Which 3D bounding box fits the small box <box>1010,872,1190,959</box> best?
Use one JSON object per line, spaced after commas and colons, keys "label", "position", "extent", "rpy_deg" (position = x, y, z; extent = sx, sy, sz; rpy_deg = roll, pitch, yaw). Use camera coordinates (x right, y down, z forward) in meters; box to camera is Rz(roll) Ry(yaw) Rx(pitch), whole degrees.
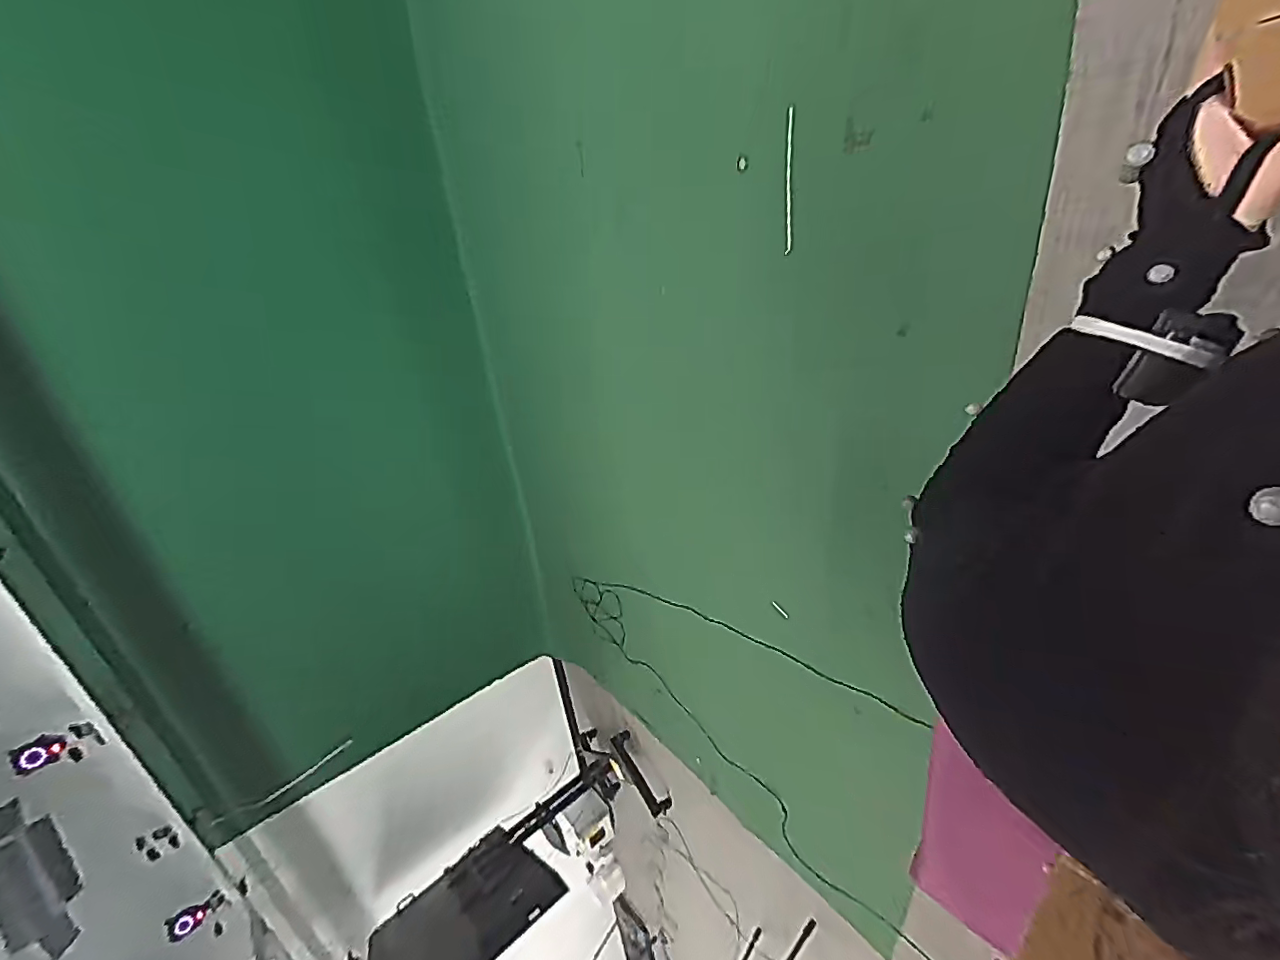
{"label": "small box", "position": [0.515, 0.601, 0.605], "extent": [0.168, 0.176, 0.179], "rpy_deg": [24, 128, 46]}

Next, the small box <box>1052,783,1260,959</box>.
{"label": "small box", "position": [0.642, 0.546, 0.695], "extent": [0.168, 0.176, 0.179], "rpy_deg": [25, 129, 45]}
